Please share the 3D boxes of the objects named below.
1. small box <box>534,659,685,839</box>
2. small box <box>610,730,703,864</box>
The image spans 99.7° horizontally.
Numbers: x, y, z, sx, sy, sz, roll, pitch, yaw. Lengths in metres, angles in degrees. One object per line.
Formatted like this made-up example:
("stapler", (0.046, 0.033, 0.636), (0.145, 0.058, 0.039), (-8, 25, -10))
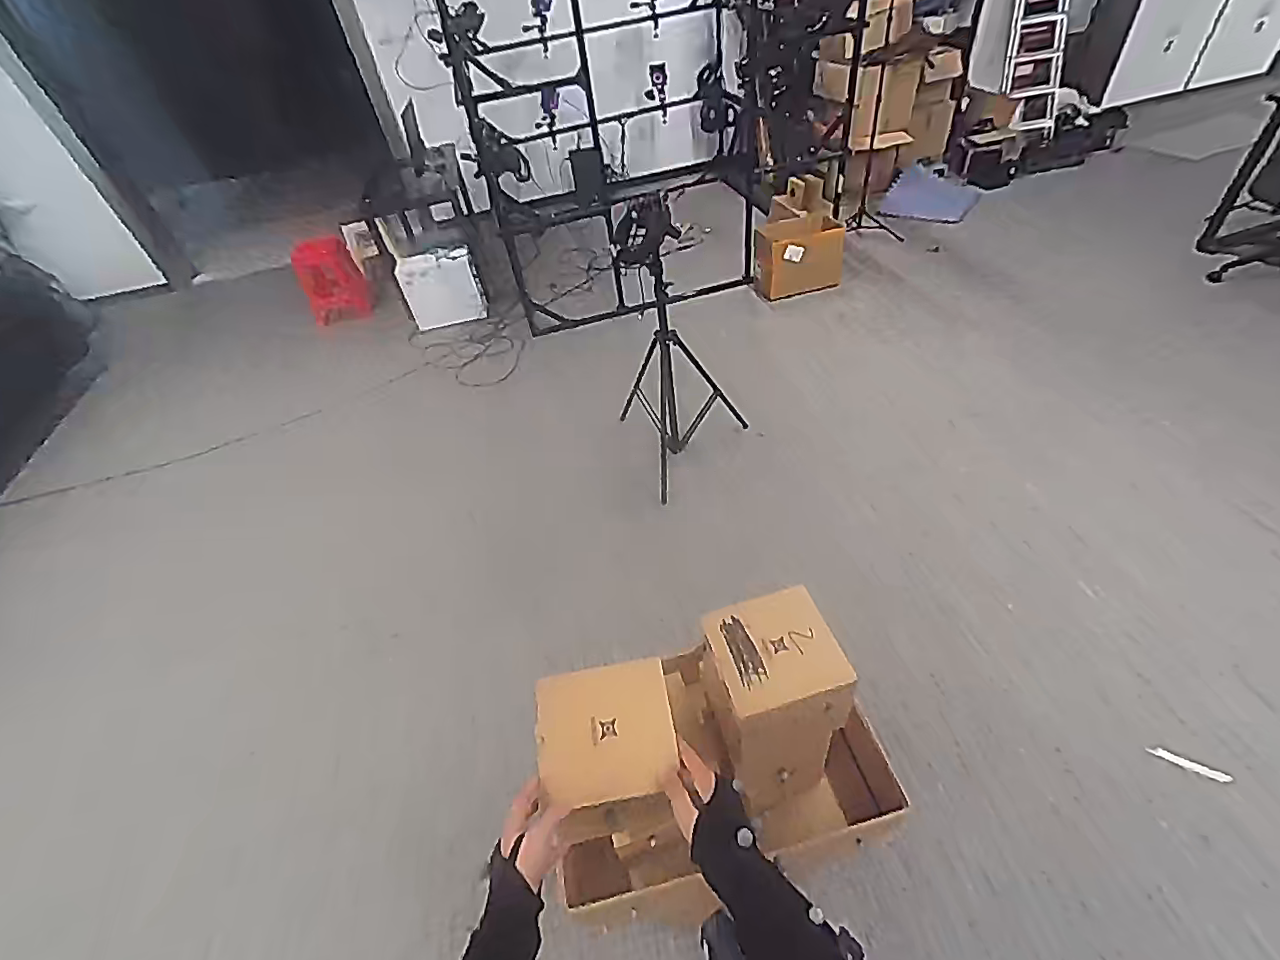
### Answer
("small box", (-0.040, 0.369, 0.738), (0.179, 0.176, 0.168), (-10, 47, -3))
("small box", (0.014, 0.594, 1.037), (0.168, 0.176, 0.179), (-18, 44, -8))
